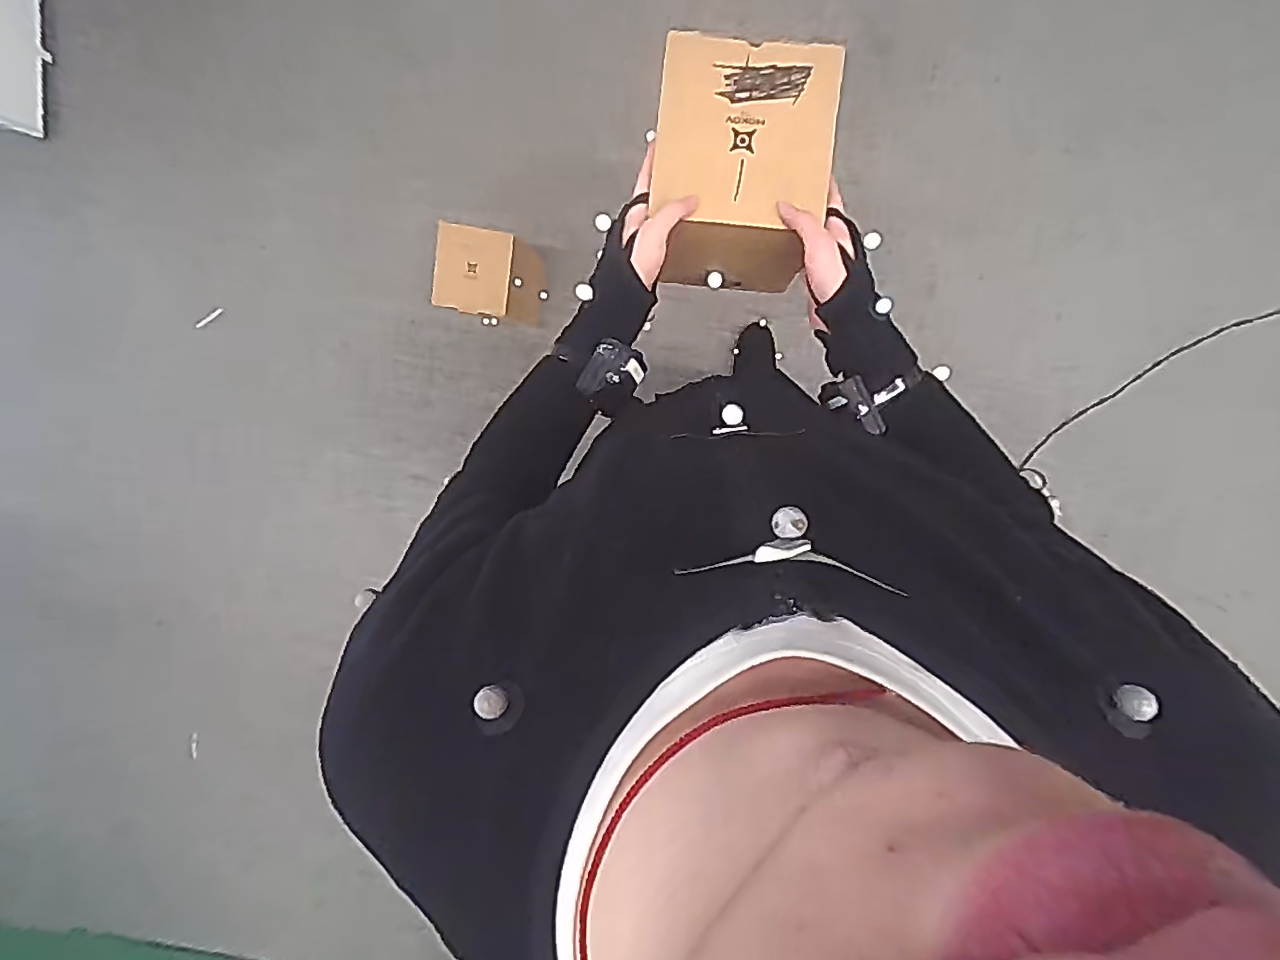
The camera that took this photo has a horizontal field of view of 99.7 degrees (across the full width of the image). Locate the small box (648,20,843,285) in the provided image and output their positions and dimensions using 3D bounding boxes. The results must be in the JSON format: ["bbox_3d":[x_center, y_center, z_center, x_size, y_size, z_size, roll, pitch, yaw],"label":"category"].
[{"bbox_3d":[0.099,-0.330,0.577,0.168,0.176,0.179,6,91,2],"label":"small box"}]

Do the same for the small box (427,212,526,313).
[{"bbox_3d":[-0.367,-0.486,1.235,0.168,0.176,0.179,9,102,0],"label":"small box"}]

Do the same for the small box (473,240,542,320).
[{"bbox_3d":[-0.358,-0.521,1.393,0.168,0.176,0.179,11,103,0],"label":"small box"}]
